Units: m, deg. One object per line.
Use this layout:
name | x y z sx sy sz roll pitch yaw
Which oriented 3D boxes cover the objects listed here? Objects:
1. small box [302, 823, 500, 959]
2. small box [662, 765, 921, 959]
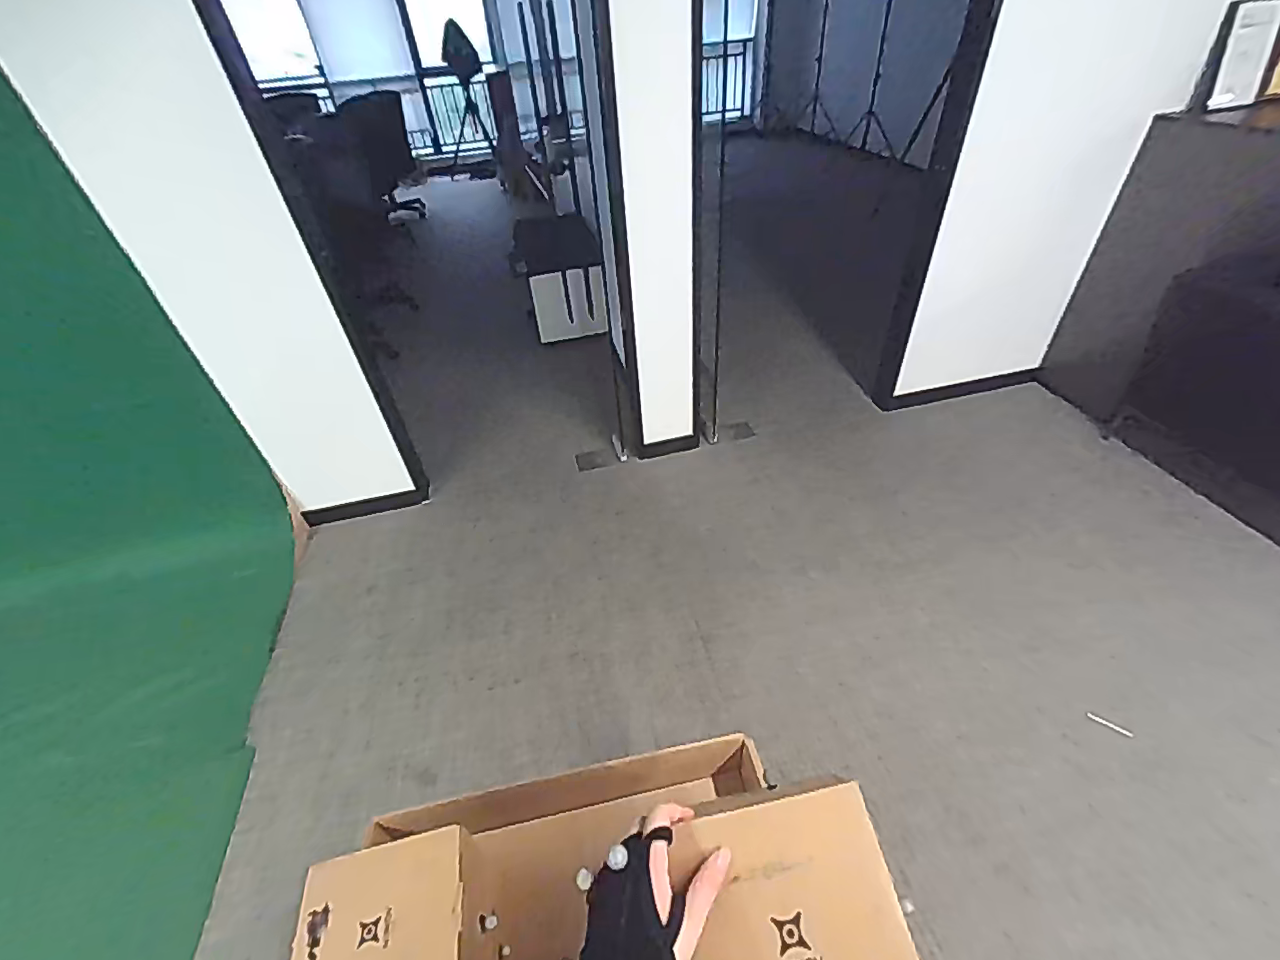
small box | -0.264 0.536 0.631 0.179 0.176 0.168 -12 41 -7
small box | 0.128 0.360 0.463 0.168 0.176 0.179 -16 62 5
